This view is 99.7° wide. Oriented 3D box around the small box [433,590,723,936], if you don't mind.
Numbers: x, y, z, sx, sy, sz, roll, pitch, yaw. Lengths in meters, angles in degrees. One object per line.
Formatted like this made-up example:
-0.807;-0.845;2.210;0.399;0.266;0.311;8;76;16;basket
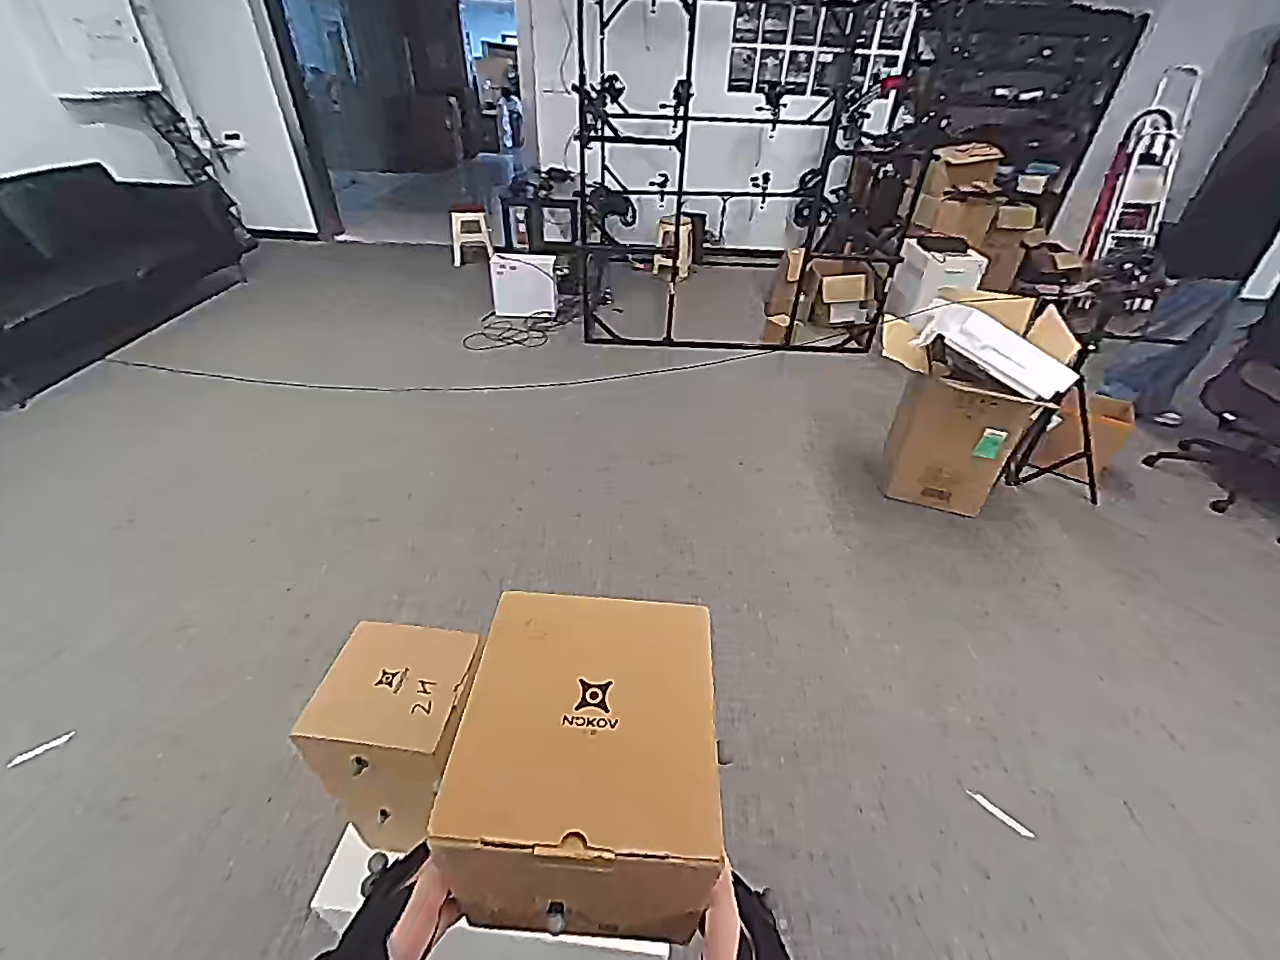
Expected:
-0.036;0.210;0.411;0.168;0.176;0.179;4;40;0;small box

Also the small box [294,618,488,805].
-0.310;0.312;0.729;0.179;0.176;0.168;6;38;3;small box

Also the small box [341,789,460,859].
-0.317;0.441;0.831;0.168;0.176;0.179;6;36;4;small box
